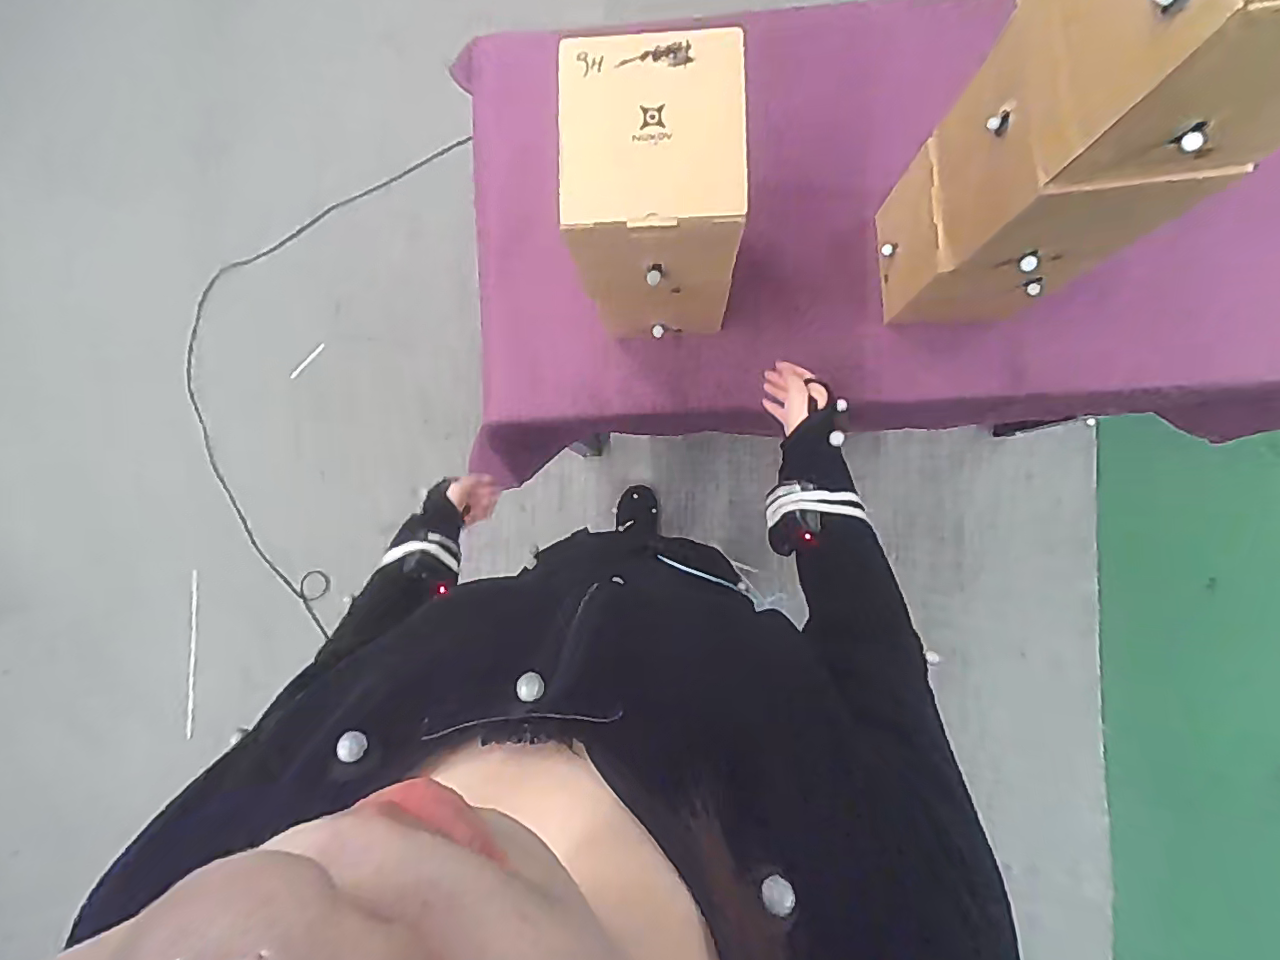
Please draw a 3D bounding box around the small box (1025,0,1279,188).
[{"bbox_3d":[0.403,-0.340,0.372,0.168,0.176,0.179,-6,88,4],"label":"small box"}]

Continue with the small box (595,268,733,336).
[{"bbox_3d":[0.032,-0.305,0.722,0.168,0.176,0.179,-1,88,4],"label":"small box"}]

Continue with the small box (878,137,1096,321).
[{"bbox_3d":[0.430,-0.315,0.696,0.179,0.176,0.168,-3,86,4],"label":"small box"}]

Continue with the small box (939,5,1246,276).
[{"bbox_3d":[0.418,-0.325,0.533,0.168,0.176,0.179,-3,88,4],"label":"small box"}]

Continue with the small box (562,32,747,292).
[{"bbox_3d":[0.018,-0.305,0.558,0.168,0.176,0.179,0,88,3],"label":"small box"}]
